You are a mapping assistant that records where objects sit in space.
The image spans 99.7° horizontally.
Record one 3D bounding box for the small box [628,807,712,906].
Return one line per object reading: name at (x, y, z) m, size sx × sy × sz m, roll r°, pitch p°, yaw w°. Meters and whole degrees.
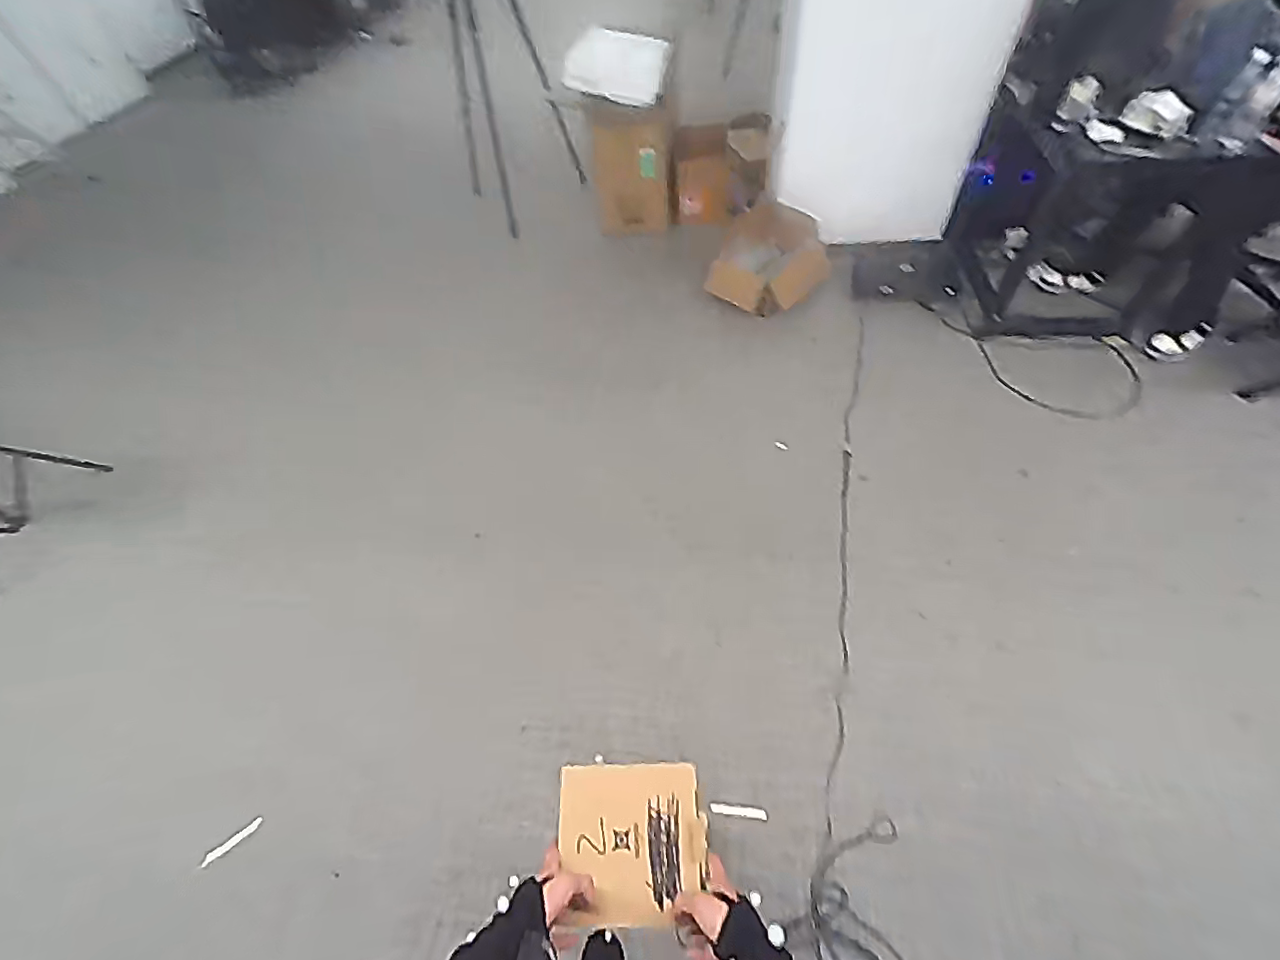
small box at (0.075, 0.870, 1.247) m, size 0.179 × 0.176 × 0.168 m, roll 1°, pitch 53°, yaw 7°
